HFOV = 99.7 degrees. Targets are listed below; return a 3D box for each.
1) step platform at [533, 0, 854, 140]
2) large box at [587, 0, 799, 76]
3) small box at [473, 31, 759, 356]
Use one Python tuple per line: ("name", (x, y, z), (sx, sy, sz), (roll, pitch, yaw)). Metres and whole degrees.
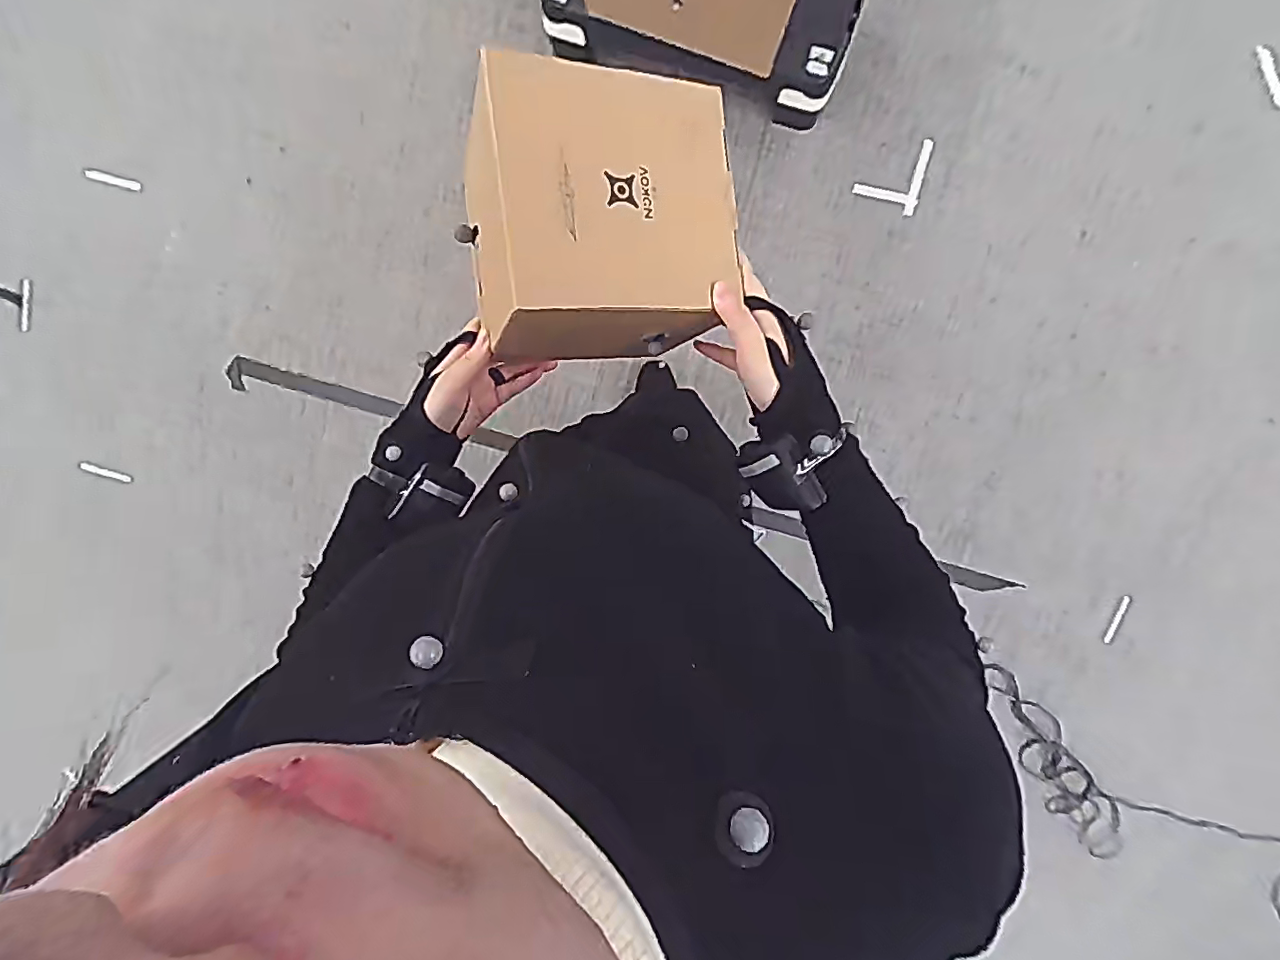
("step platform", (0.112, -1.043, 1.190), (0.684, 0.204, 0.286), (21, 101, 1))
("large box", (0.119, -1.007, 0.953), (0.408, 0.320, 0.320), (19, 100, 1))
("small box", (-0.029, -0.200, 0.436), (0.179, 0.176, 0.168), (-7, 92, -22))
